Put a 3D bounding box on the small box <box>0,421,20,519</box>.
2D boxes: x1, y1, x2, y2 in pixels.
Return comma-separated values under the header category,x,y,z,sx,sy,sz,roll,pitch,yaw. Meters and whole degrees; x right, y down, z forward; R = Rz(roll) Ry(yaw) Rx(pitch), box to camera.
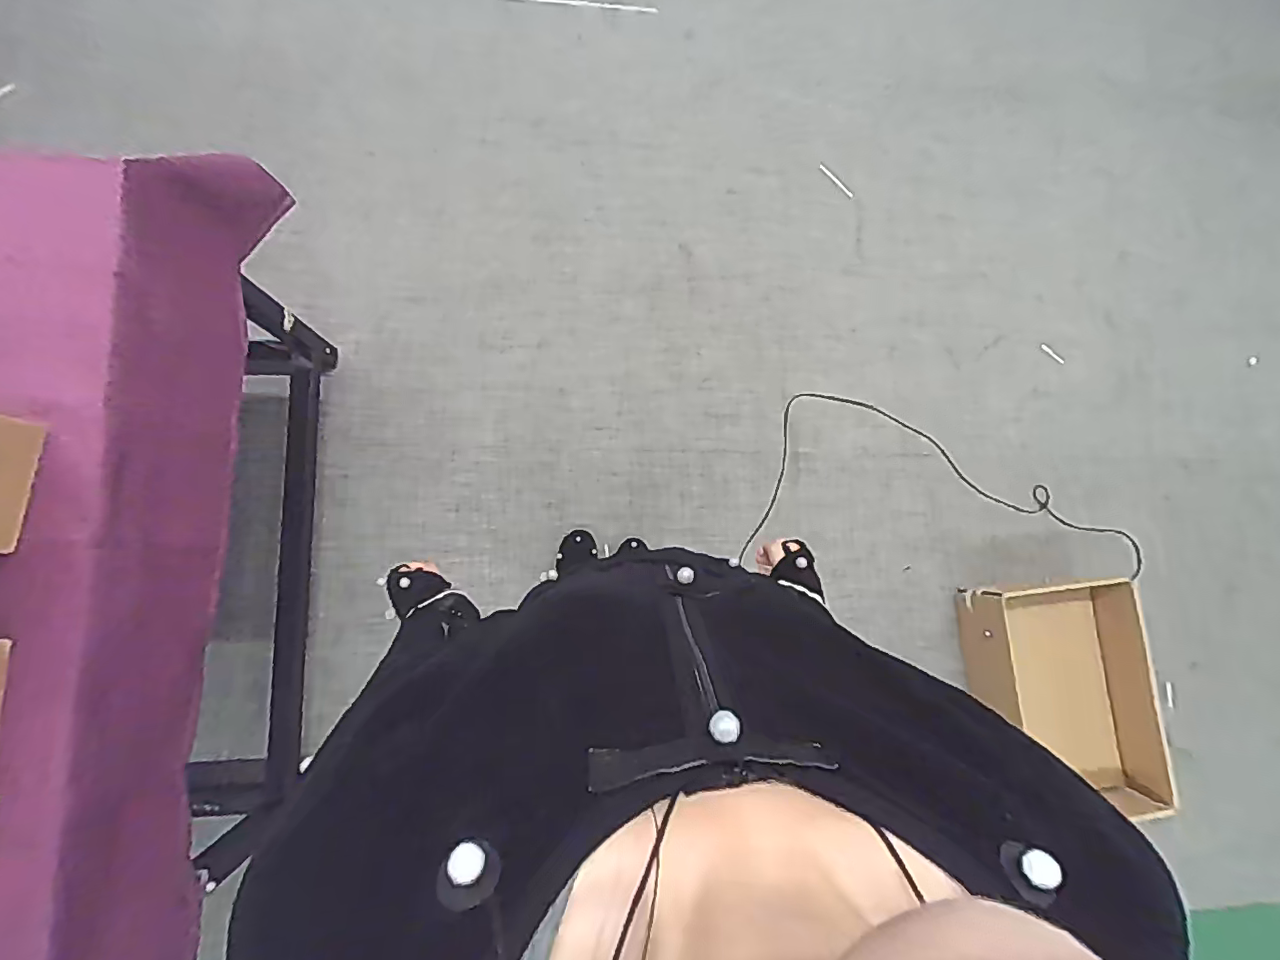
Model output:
category,x,y,z,sx,sy,sz,roll,pitch,yaw
small box,-0.888,-0.006,0.615,0.168,0.176,0.179,8,83,-6
